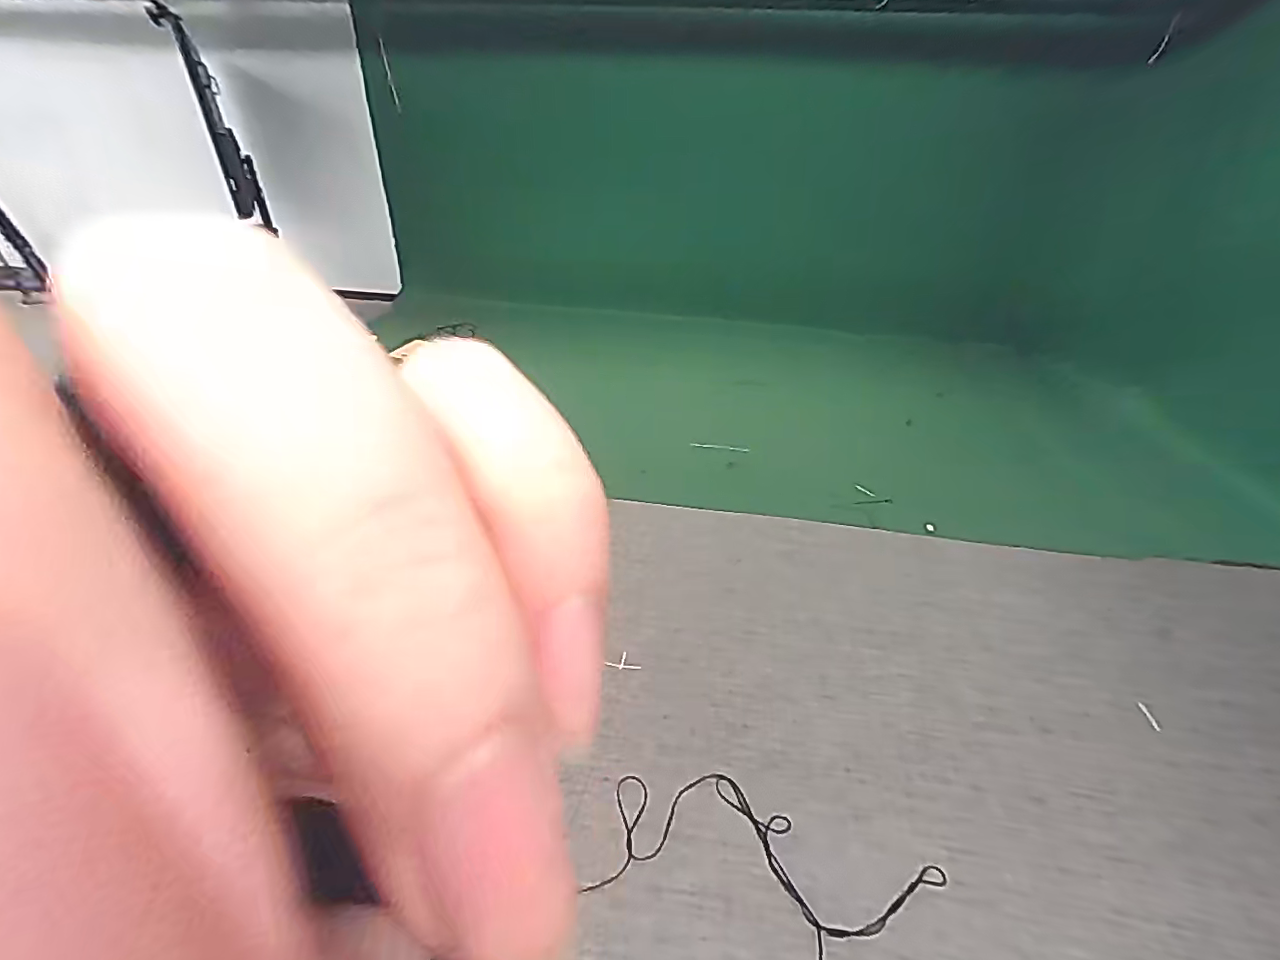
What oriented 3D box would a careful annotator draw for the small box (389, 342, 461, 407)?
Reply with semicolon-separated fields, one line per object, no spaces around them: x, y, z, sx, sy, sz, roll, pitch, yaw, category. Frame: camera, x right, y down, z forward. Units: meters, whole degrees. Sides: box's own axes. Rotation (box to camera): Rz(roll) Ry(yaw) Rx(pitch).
-0.760;-0.378;1.930;0.168;0.176;0.179;10;33;13;small box
